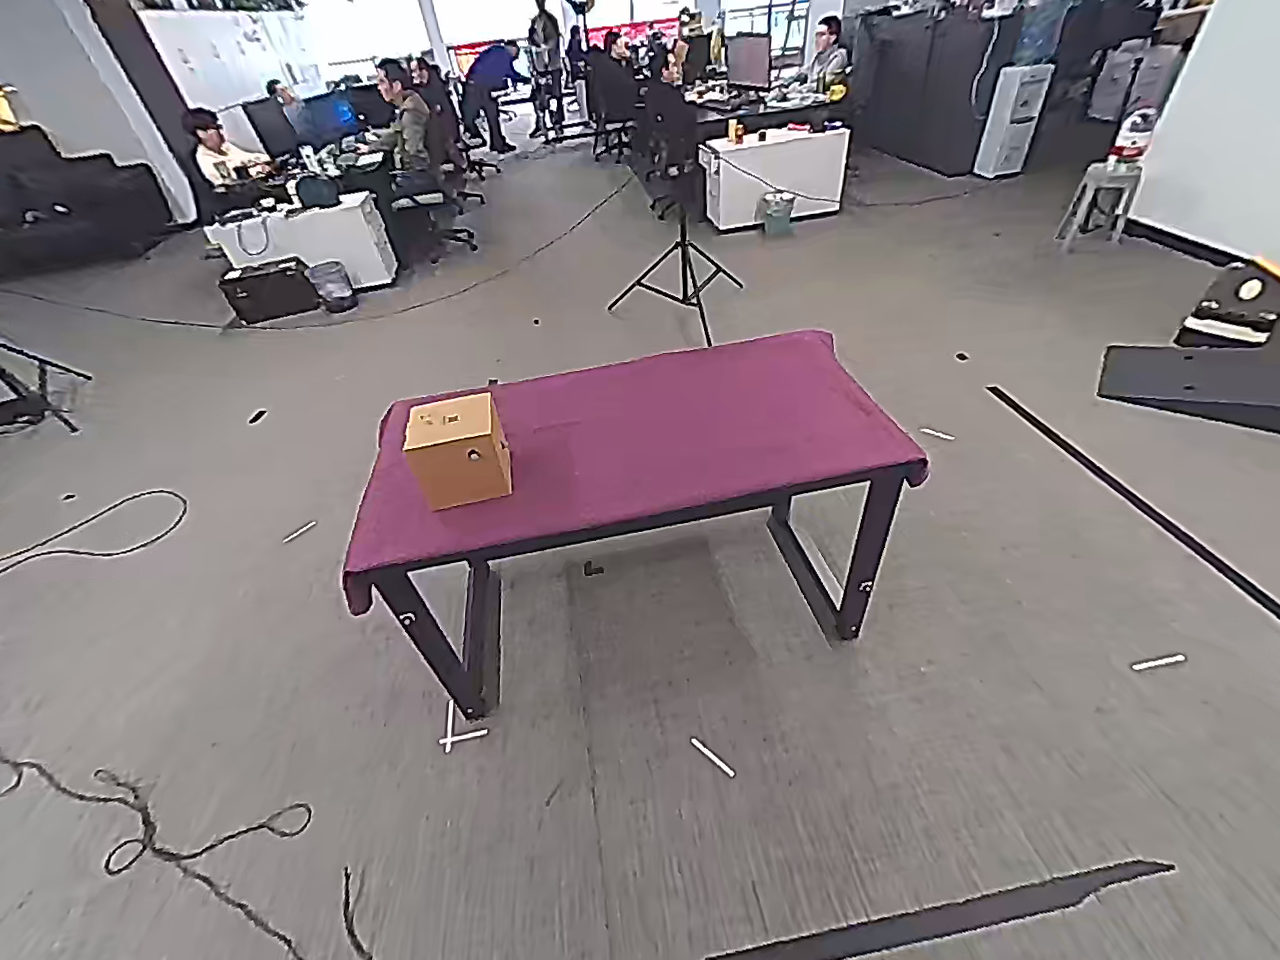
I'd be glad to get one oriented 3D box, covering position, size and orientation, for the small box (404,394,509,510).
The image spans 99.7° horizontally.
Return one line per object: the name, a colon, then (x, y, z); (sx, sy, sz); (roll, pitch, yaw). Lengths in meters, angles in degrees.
small box: (-0.386, -0.060, 1.174); (0.179, 0.176, 0.168); (-13, 40, -6)
